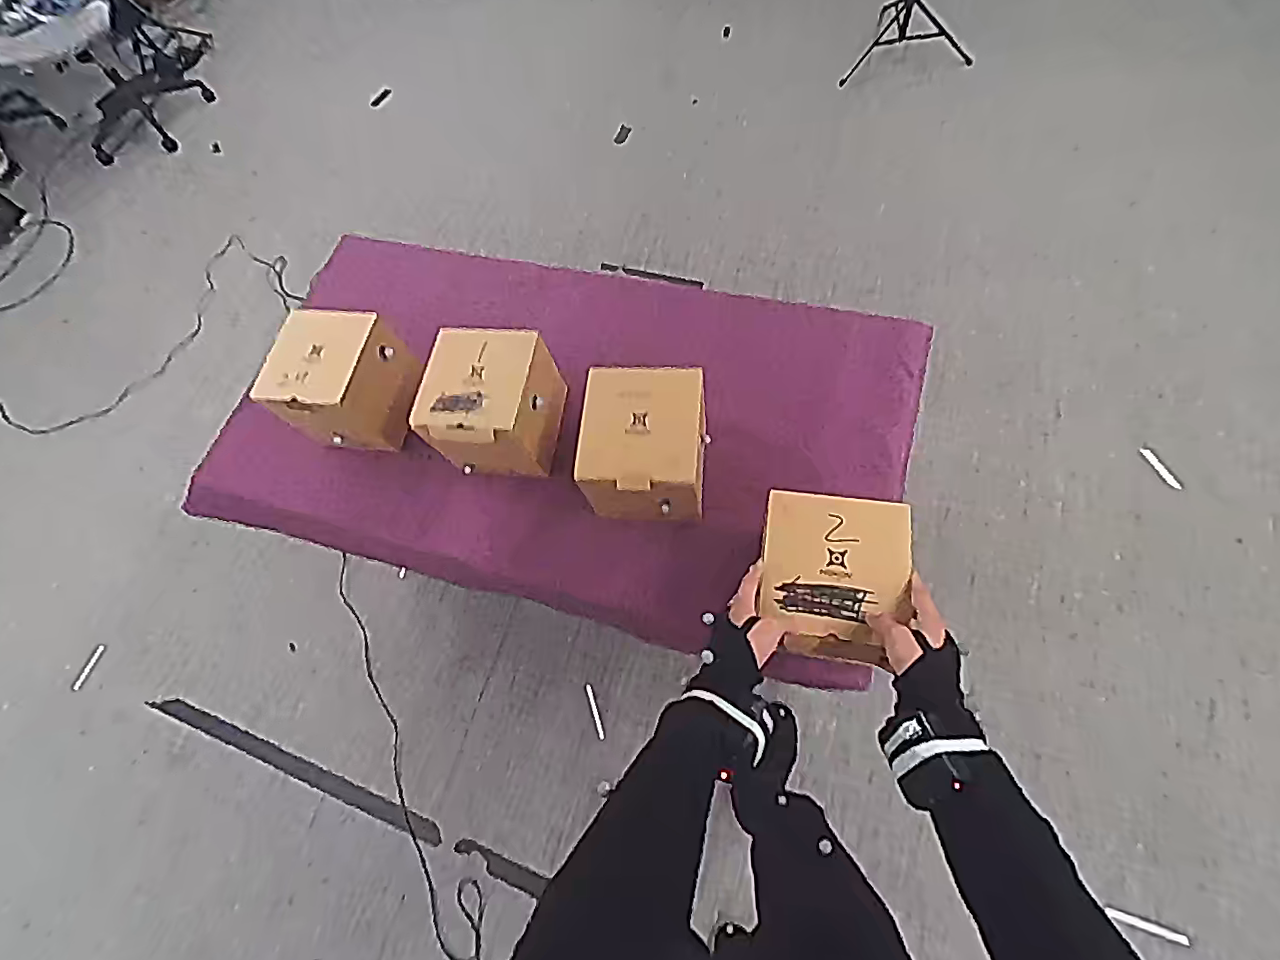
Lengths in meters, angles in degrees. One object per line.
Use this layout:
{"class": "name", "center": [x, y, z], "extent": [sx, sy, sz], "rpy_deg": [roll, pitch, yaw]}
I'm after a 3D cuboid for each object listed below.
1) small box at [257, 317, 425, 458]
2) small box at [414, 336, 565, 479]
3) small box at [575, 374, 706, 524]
{"class": "small box", "center": [-0.505, -0.158, 0.944], "extent": [0.168, 0.176, 0.179], "rpy_deg": [6, 69, 11]}
{"class": "small box", "center": [-0.232, -0.113, 0.883], "extent": [0.168, 0.176, 0.179], "rpy_deg": [4, 68, 10]}
{"class": "small box", "center": [0.012, -0.041, 0.817], "extent": [0.168, 0.176, 0.179], "rpy_deg": [2, 68, 9]}
